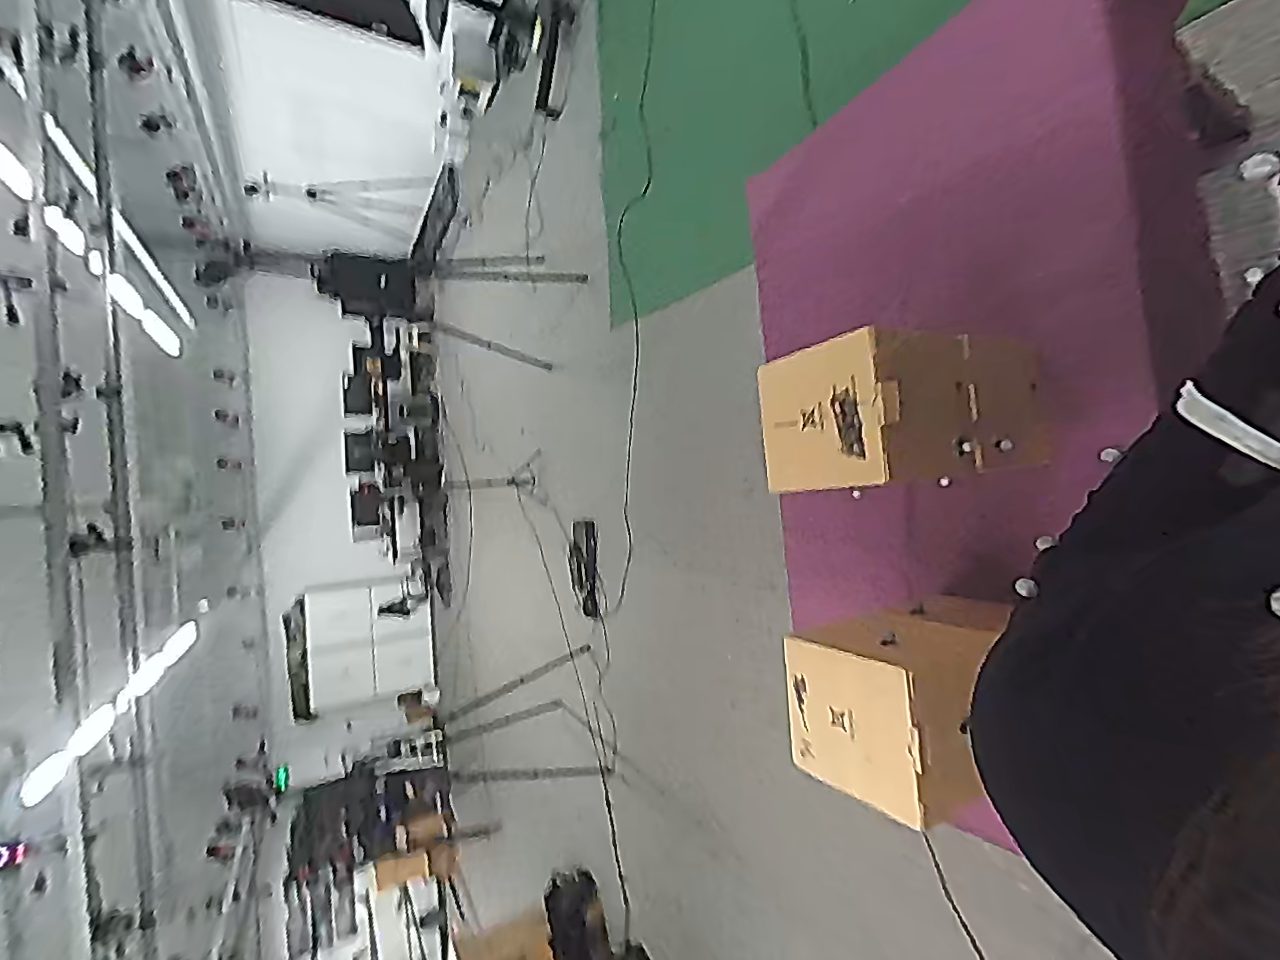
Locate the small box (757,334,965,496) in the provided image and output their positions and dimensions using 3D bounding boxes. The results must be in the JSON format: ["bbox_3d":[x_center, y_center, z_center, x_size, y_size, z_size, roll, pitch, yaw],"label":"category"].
[{"bbox_3d":[0.273,-0.071,0.669,0.179,0.176,0.168,-10,84,61],"label":"small box"}]

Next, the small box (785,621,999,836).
[{"bbox_3d":[0.302,0.274,0.649,0.179,0.176,0.168,-7,85,59],"label":"small box"}]
